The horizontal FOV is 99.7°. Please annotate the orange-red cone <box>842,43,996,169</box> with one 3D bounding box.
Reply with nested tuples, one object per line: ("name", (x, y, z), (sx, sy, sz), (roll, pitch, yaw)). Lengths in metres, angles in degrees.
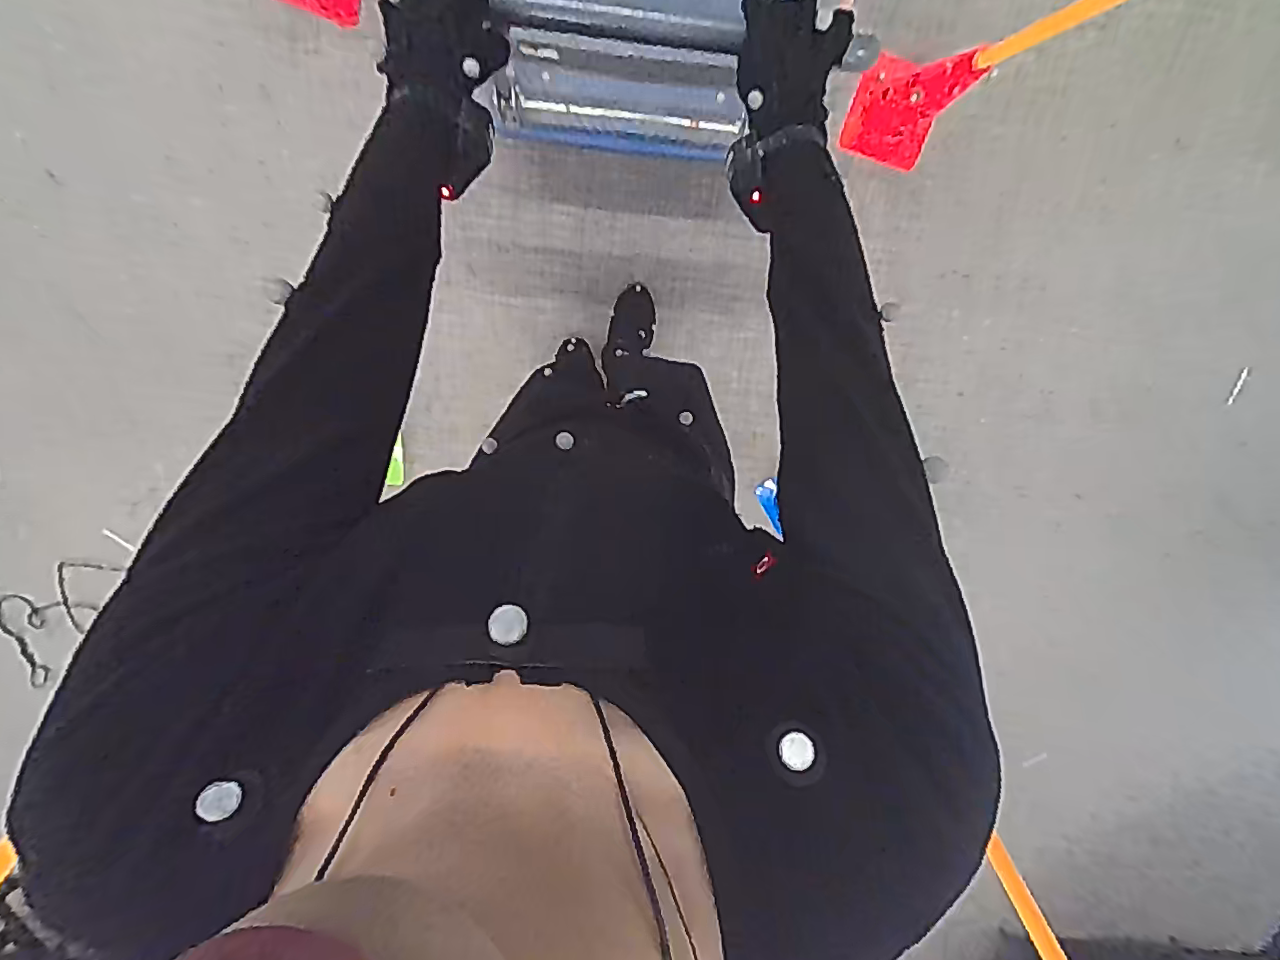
("orange-red cone", (0.587, -0.784, 1.083), (0.198, 0.360, 0.199), (16, 111, -7))
